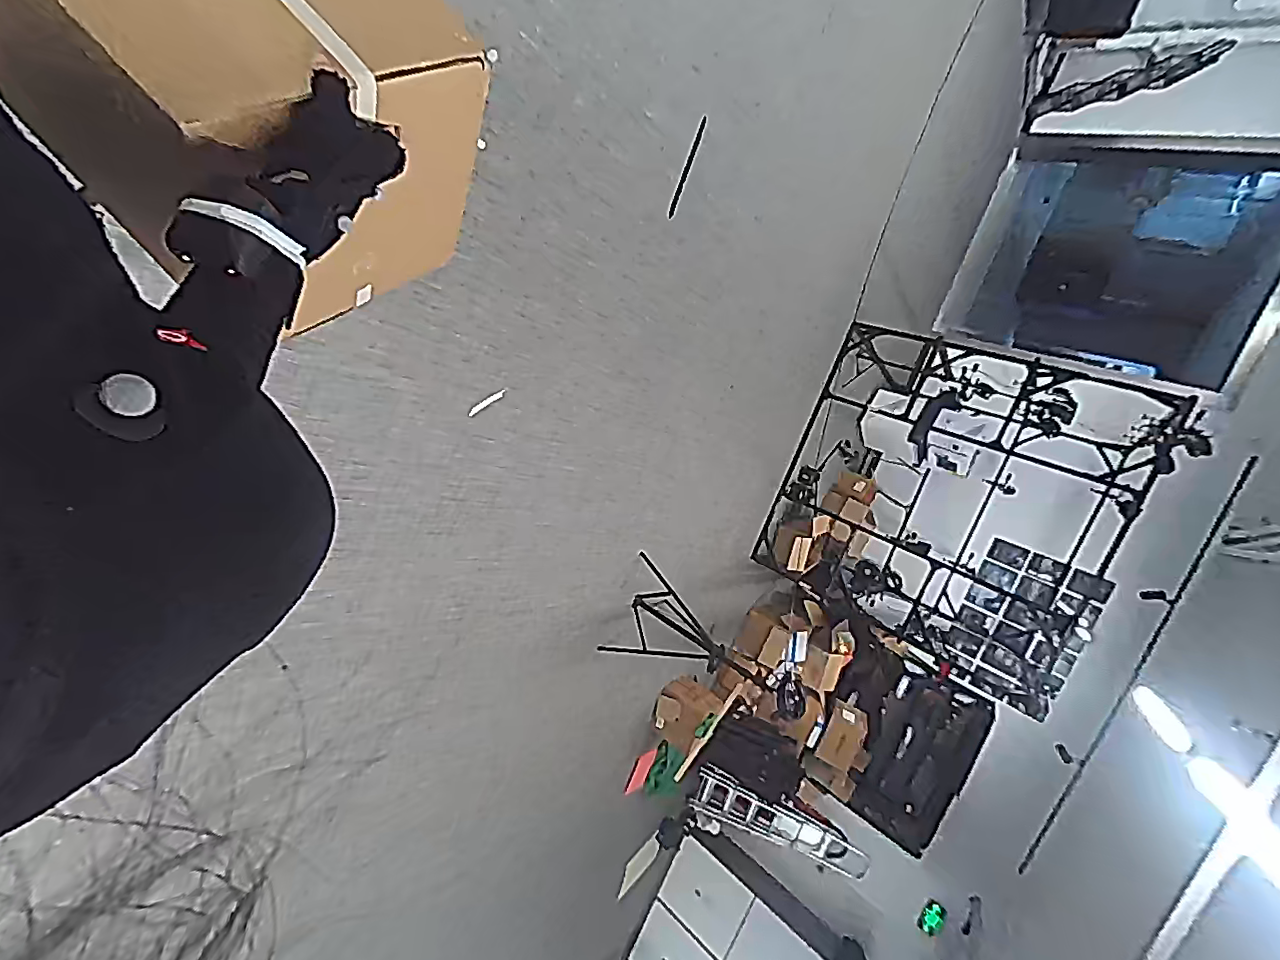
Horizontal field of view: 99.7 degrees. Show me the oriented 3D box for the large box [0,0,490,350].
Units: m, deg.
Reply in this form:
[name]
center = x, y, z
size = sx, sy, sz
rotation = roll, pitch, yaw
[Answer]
[large box]
center = -0.448, -0.434, 0.598
size = 0.320, 0.408, 0.320
rotation = -46, -175, -33
